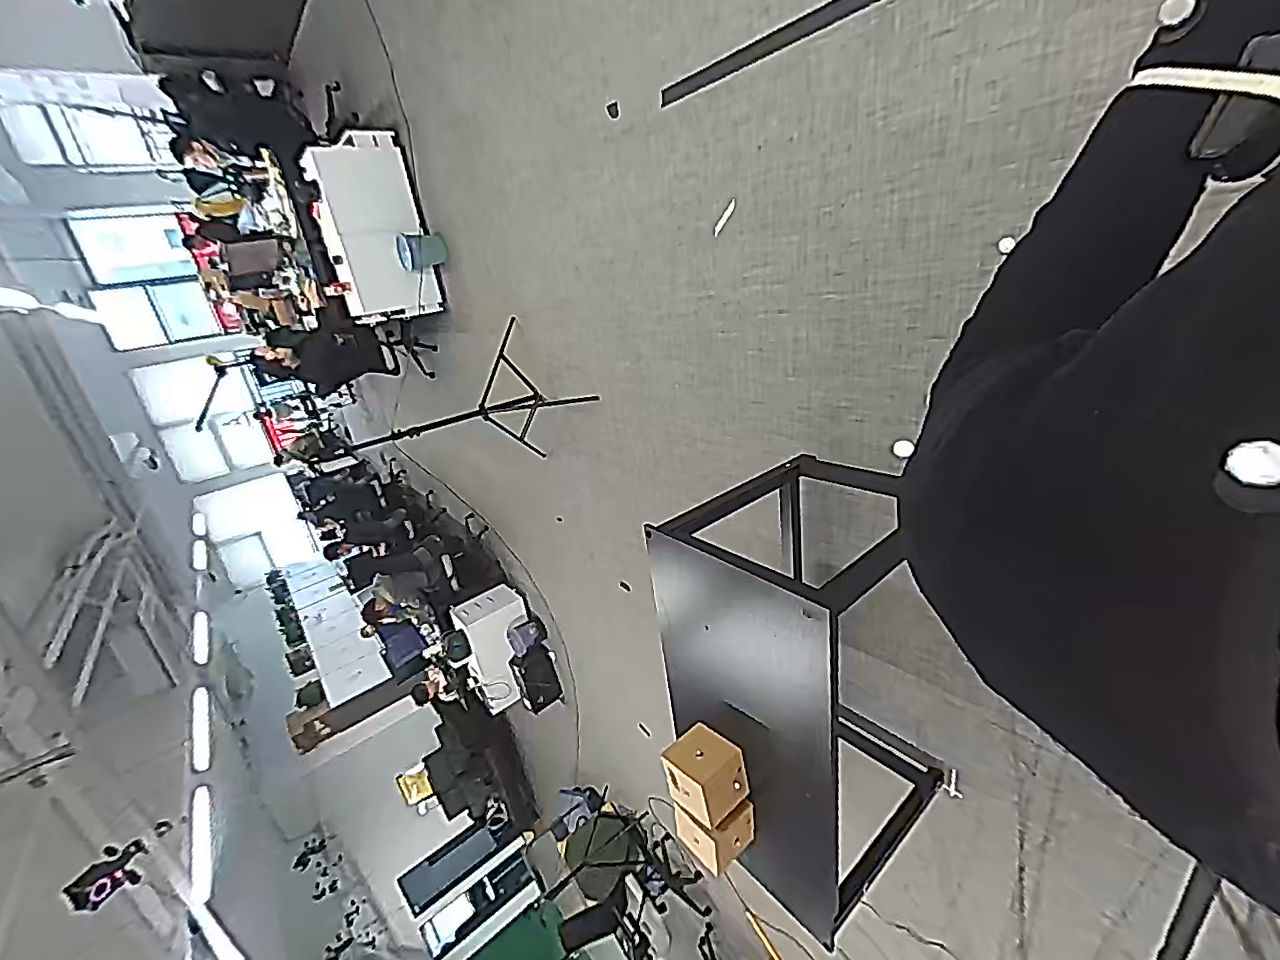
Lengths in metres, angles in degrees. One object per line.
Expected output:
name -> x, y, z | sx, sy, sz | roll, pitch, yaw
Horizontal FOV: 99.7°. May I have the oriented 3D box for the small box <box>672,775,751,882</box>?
small box -> 0.221, 1.047, 1.641 | 0.179, 0.176, 0.168 | 23, 126, 48
